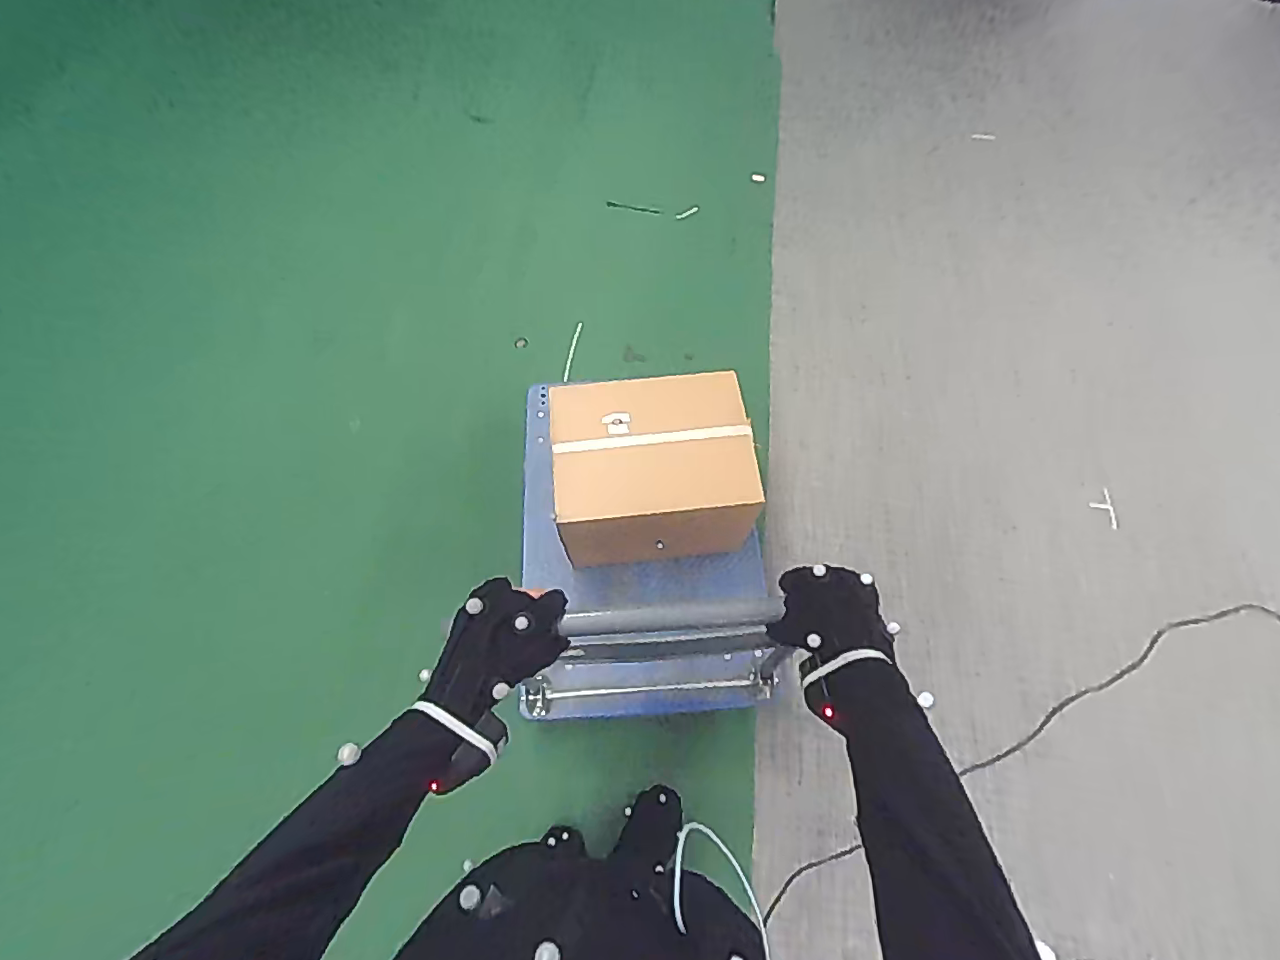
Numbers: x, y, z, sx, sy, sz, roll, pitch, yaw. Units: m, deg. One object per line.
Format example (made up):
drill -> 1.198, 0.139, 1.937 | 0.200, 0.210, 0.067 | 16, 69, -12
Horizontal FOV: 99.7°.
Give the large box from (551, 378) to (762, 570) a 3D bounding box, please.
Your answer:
large box -> 0.027, 0.000, 1.242 | 0.408, 0.320, 0.320 | -7, 64, -2
